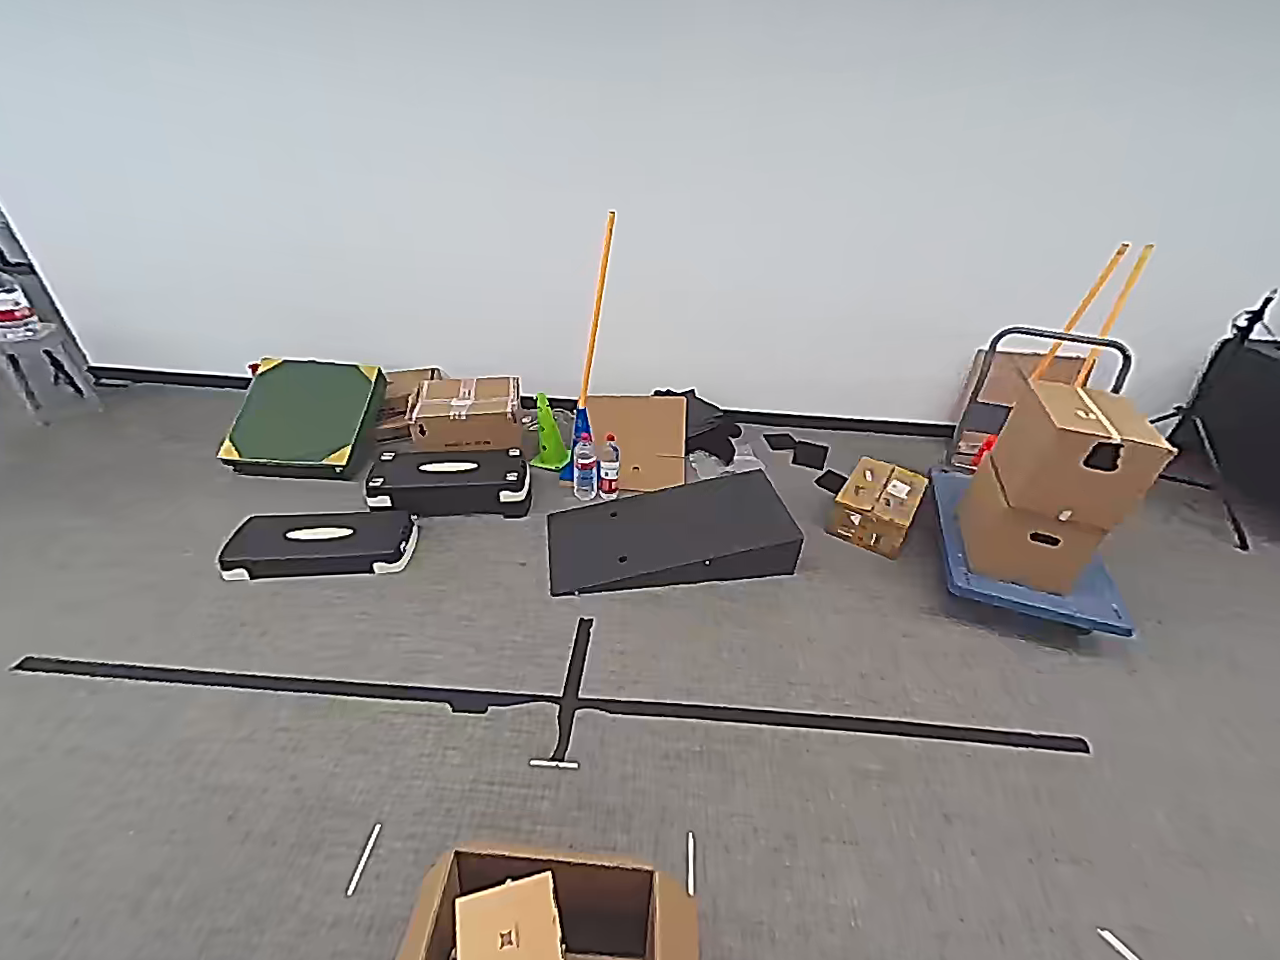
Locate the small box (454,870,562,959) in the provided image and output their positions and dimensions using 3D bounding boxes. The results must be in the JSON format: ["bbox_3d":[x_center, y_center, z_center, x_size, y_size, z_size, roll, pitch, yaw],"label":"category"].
[{"bbox_3d":[-0.240,0.859,0.986,0.179,0.176,0.168,-5,38,-18],"label":"small box"}]
